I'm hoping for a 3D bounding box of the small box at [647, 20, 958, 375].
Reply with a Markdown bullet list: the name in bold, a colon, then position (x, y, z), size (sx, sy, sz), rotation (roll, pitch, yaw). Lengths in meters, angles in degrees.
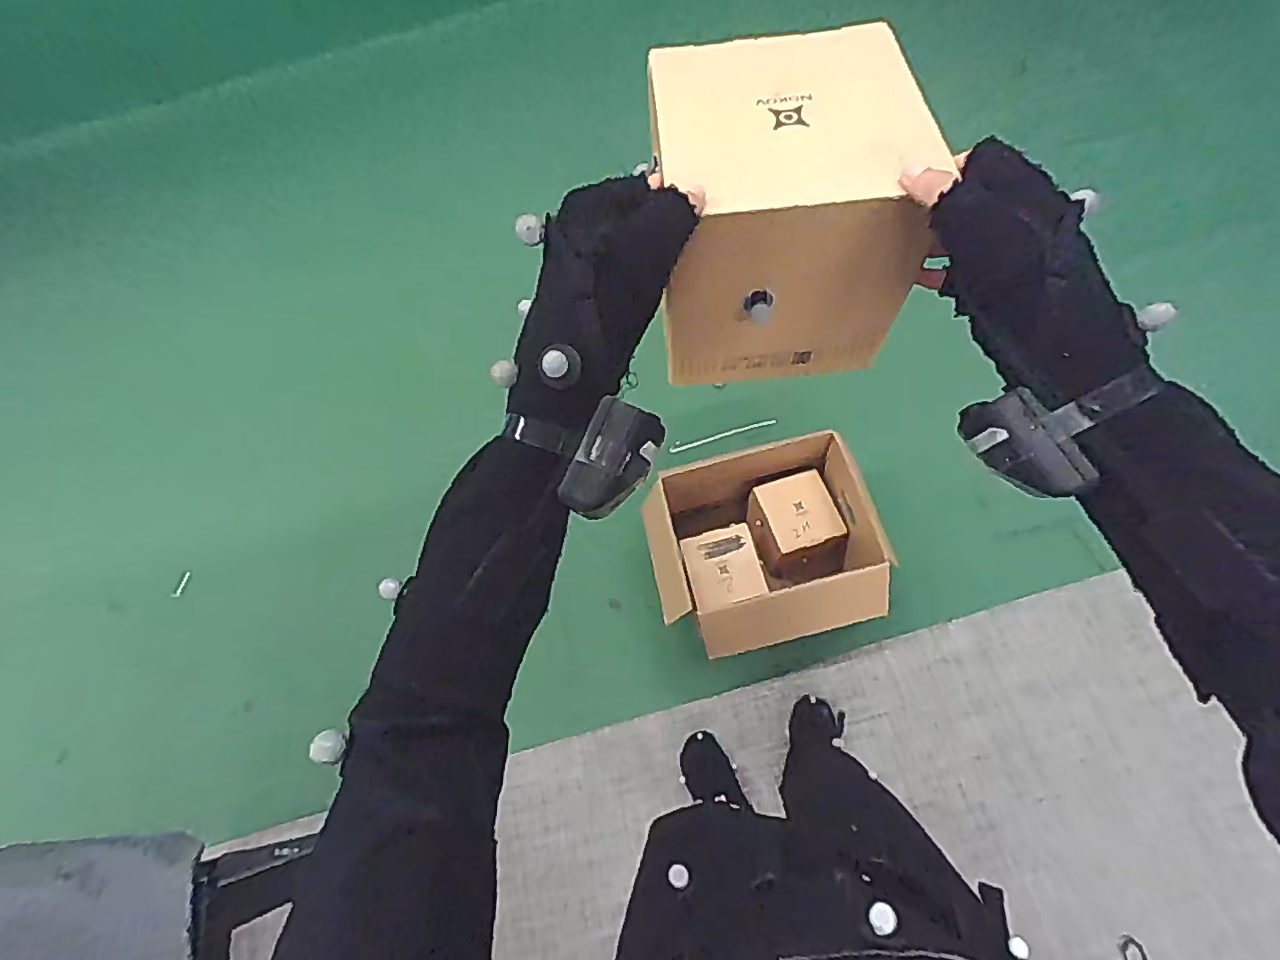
- **small box**: position (0.097, -0.193, 0.406), size (0.168, 0.176, 0.179), rotation (-5, 63, 2)
